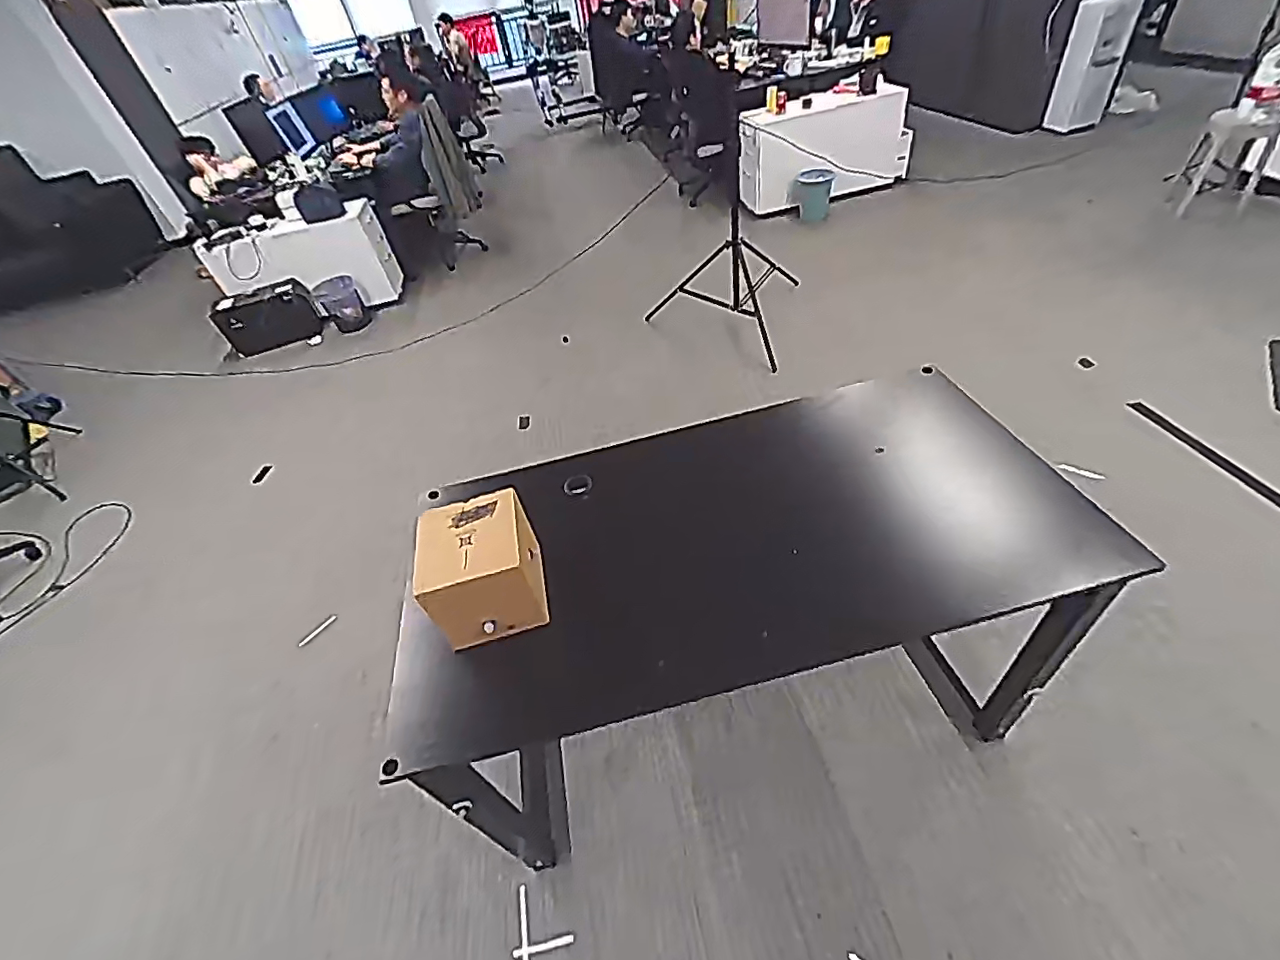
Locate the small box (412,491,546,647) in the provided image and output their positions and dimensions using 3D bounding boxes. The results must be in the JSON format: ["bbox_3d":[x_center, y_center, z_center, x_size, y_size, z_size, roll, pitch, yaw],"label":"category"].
[{"bbox_3d":[-0.265,0.152,0.919,0.168,0.176,0.179,-16,45,-4],"label":"small box"}]
